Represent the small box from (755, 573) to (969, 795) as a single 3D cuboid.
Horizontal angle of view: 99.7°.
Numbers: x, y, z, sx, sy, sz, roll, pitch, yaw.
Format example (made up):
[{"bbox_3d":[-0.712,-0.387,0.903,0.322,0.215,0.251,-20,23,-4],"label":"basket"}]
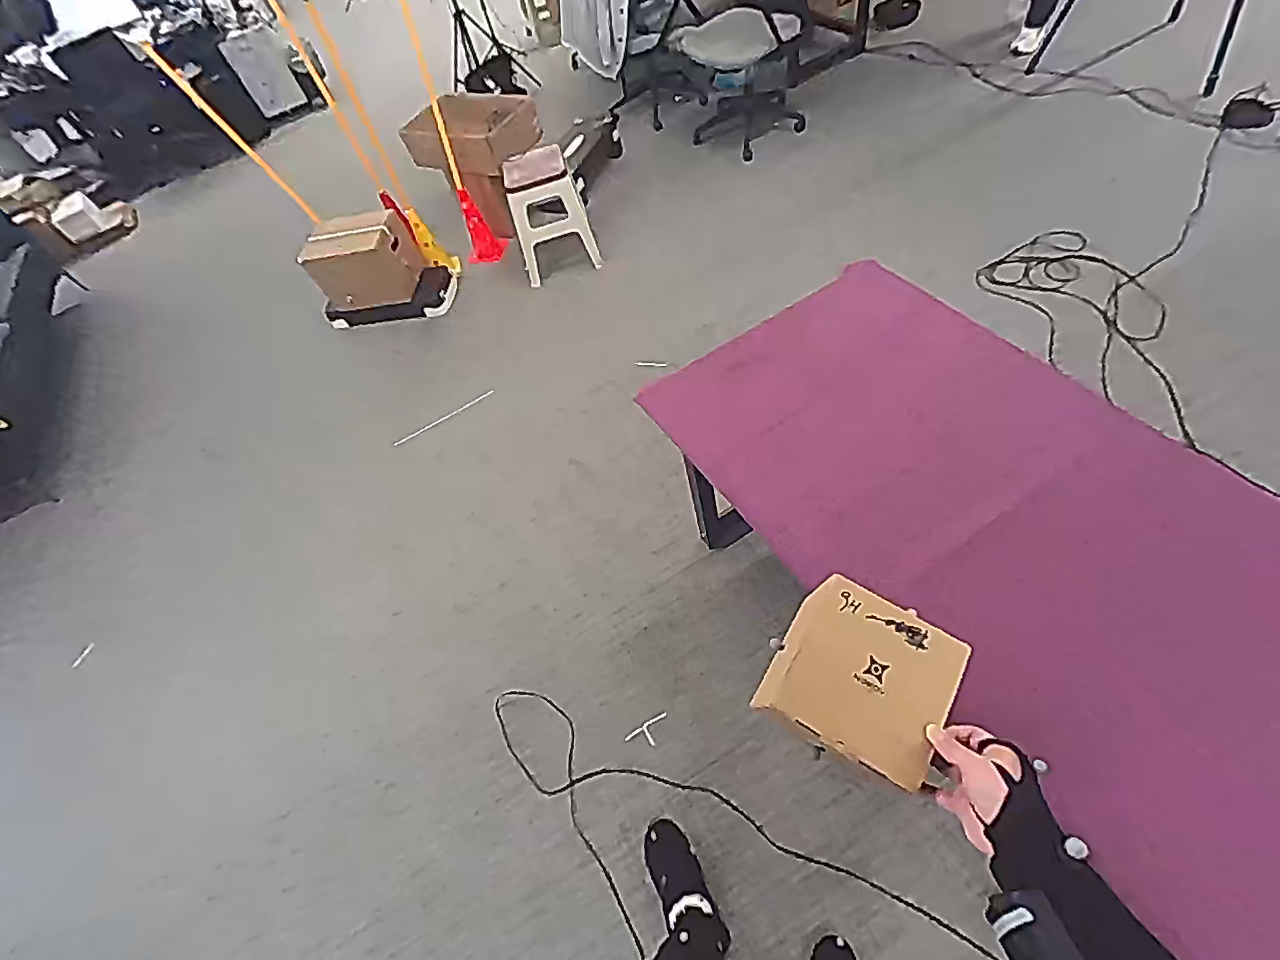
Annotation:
[{"bbox_3d":[0.255,0.246,0.665,0.168,0.176,0.179,30,72,15],"label":"small box"}]
